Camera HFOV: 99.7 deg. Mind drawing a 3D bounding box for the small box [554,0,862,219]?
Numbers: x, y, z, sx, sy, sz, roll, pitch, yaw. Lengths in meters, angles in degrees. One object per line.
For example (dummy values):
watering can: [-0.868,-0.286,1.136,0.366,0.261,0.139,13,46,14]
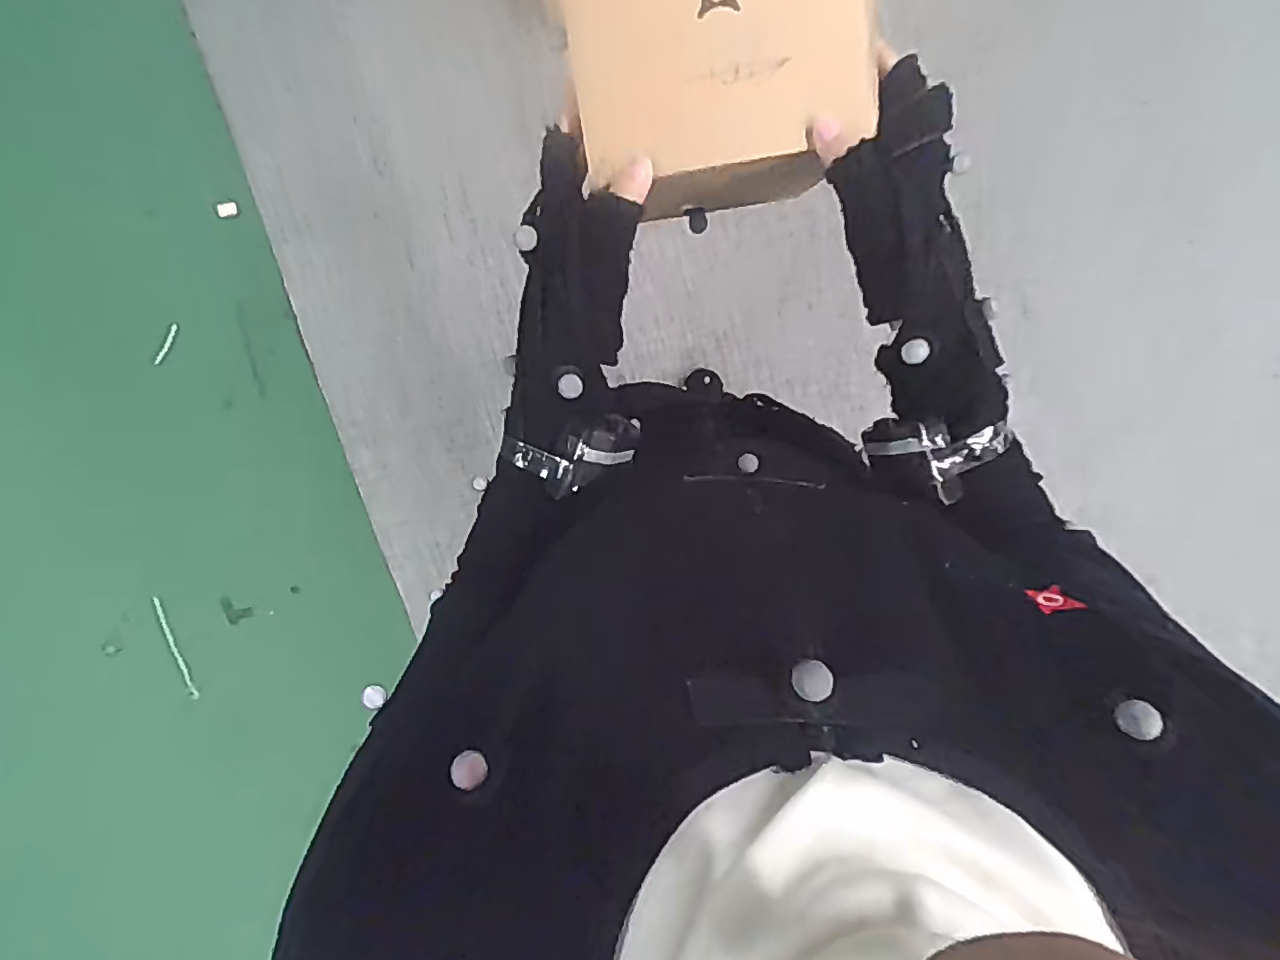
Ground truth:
small box: [0.036,-0.291,0.360,0.168,0.176,0.179,-7,108,5]
